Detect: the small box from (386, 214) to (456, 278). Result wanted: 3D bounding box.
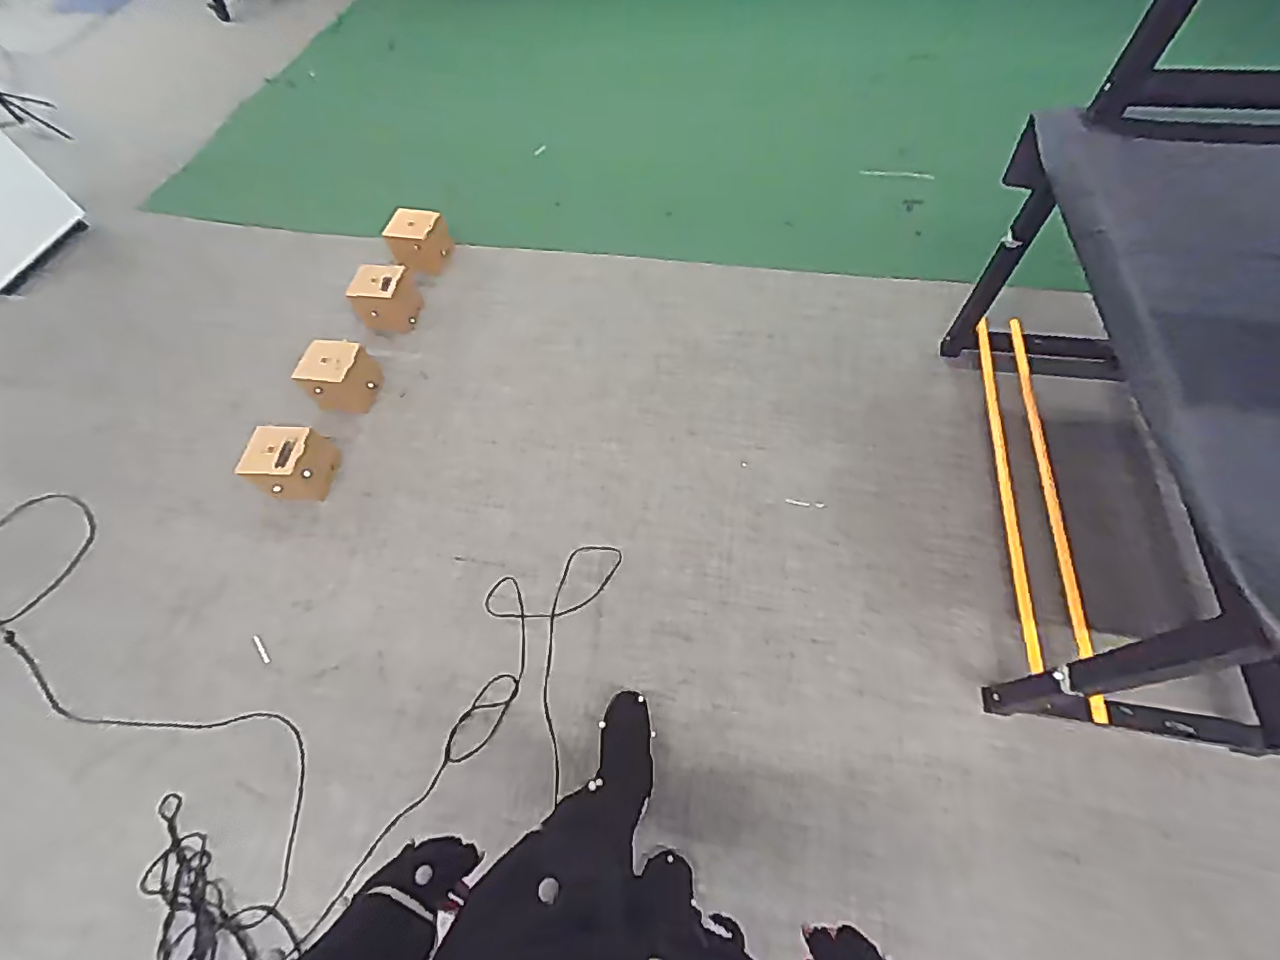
[{"bbox_3d":[-0.866,-0.929,2.155,0.179,0.176,0.168,9,62,8],"label":"small box"}]

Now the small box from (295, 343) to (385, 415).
[{"bbox_3d":[-0.996,-0.334,1.812,0.179,0.176,0.168,7,62,6],"label":"small box"}]

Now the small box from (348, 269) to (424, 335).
[{"bbox_3d":[-0.927,-0.653,1.996,0.179,0.176,0.168,4,60,6],"label":"small box"}]
